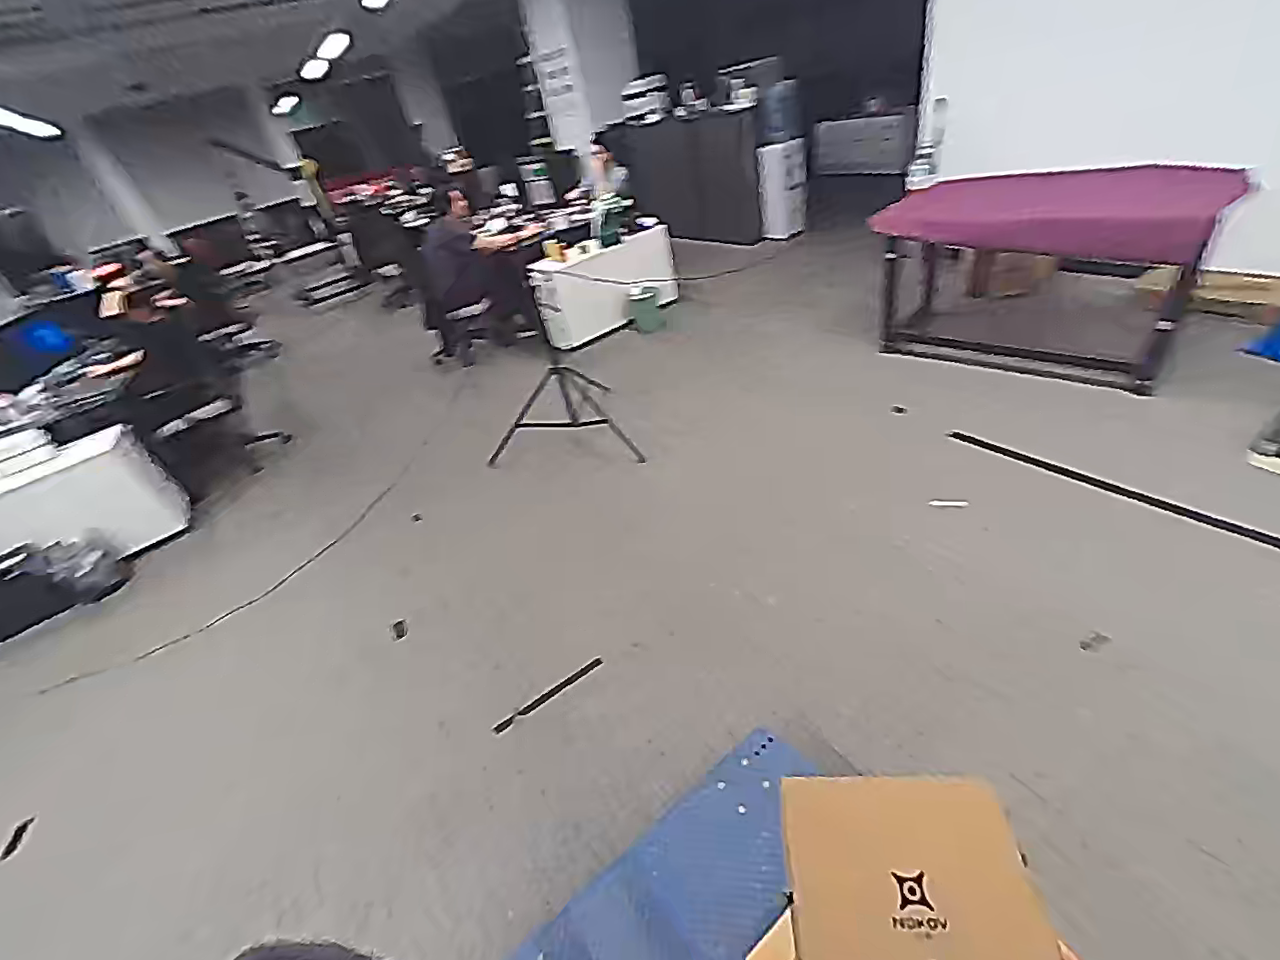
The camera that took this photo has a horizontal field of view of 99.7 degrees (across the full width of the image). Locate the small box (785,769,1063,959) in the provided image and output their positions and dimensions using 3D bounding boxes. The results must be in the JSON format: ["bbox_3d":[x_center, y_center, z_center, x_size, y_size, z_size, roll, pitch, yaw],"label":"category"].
[{"bbox_3d":[0.206,0.357,0.428,0.168,0.176,0.179,-6,39,11],"label":"small box"}]
